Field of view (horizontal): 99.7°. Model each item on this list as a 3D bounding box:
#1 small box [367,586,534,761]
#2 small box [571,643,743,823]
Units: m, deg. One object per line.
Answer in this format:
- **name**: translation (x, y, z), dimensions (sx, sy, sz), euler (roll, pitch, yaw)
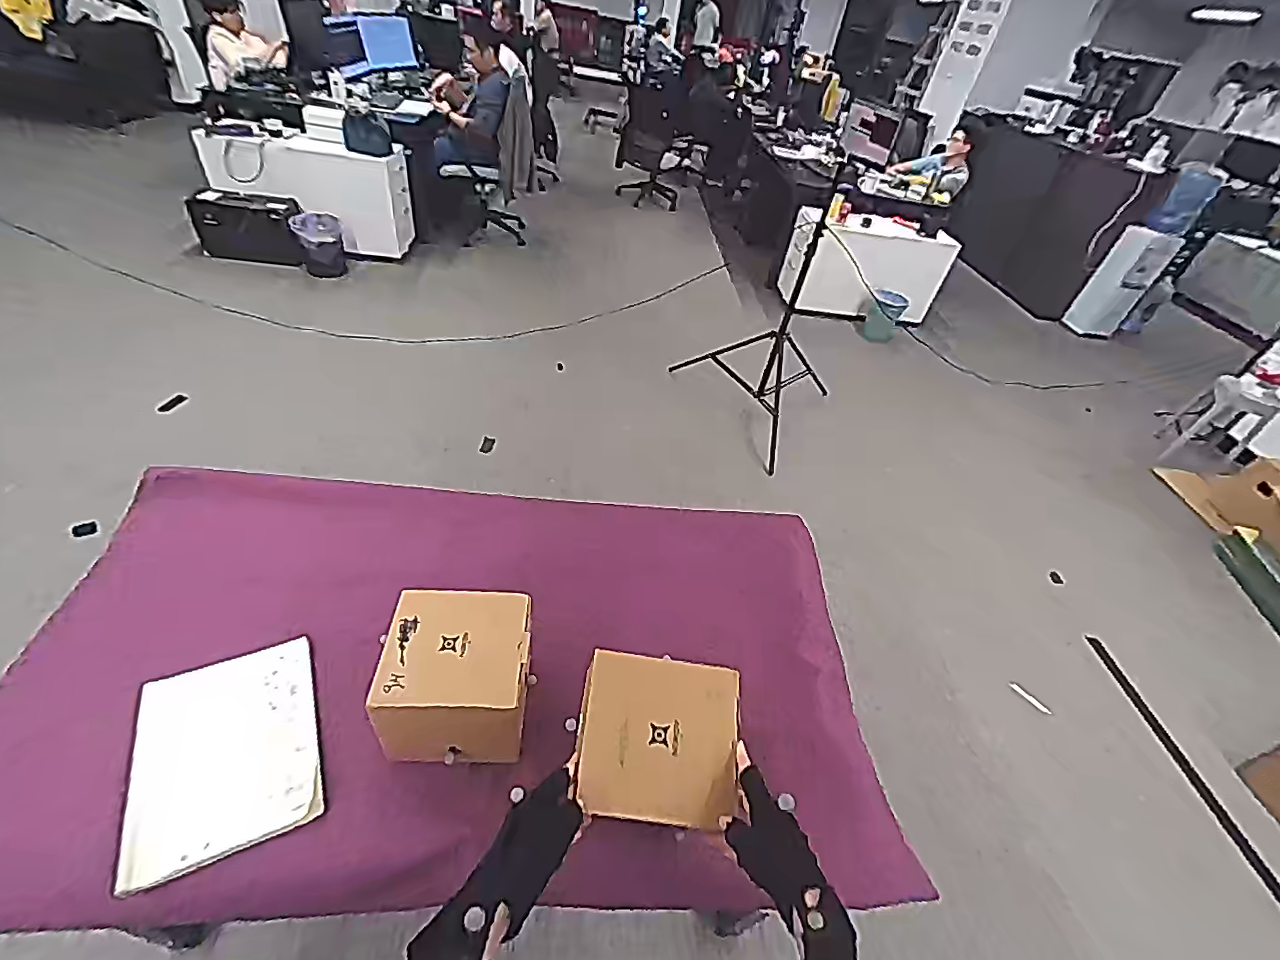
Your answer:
- **small box**: translation (-0.244, 0.267, 0.742), dimensions (0.179, 0.176, 0.168), euler (5, 41, -8)
- **small box**: translation (0.016, 0.312, 0.661), dimensions (0.179, 0.176, 0.168), euler (9, 57, -4)
